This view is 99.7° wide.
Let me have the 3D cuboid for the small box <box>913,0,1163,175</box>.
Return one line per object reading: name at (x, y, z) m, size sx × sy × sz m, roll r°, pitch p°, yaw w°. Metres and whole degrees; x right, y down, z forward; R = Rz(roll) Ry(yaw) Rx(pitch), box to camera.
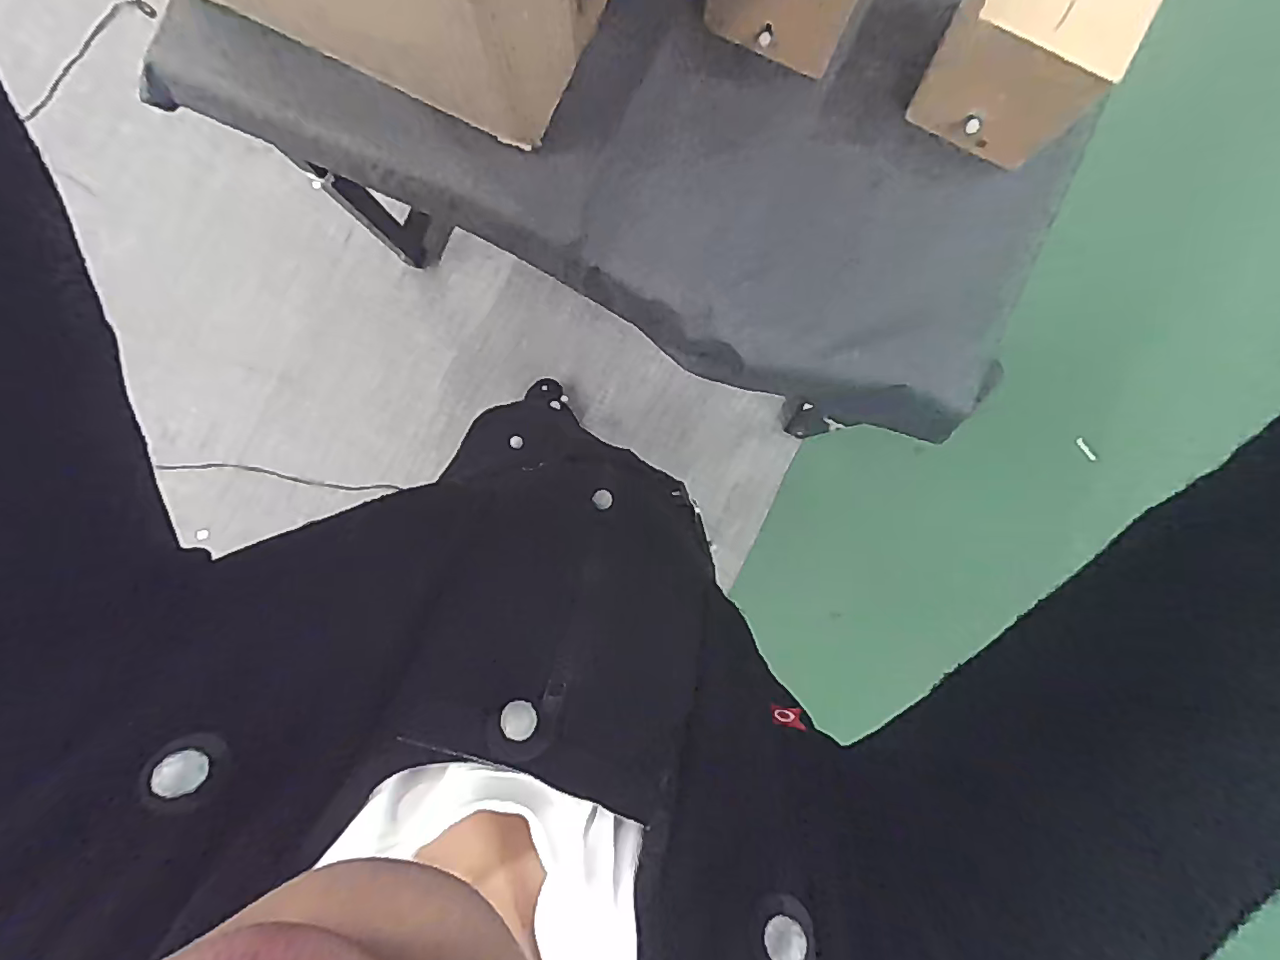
small box at (0.469, -0.521, 0.653) m, size 0.168 × 0.176 × 0.179 m, roll 27°, pitch 91°, yaw 1°
